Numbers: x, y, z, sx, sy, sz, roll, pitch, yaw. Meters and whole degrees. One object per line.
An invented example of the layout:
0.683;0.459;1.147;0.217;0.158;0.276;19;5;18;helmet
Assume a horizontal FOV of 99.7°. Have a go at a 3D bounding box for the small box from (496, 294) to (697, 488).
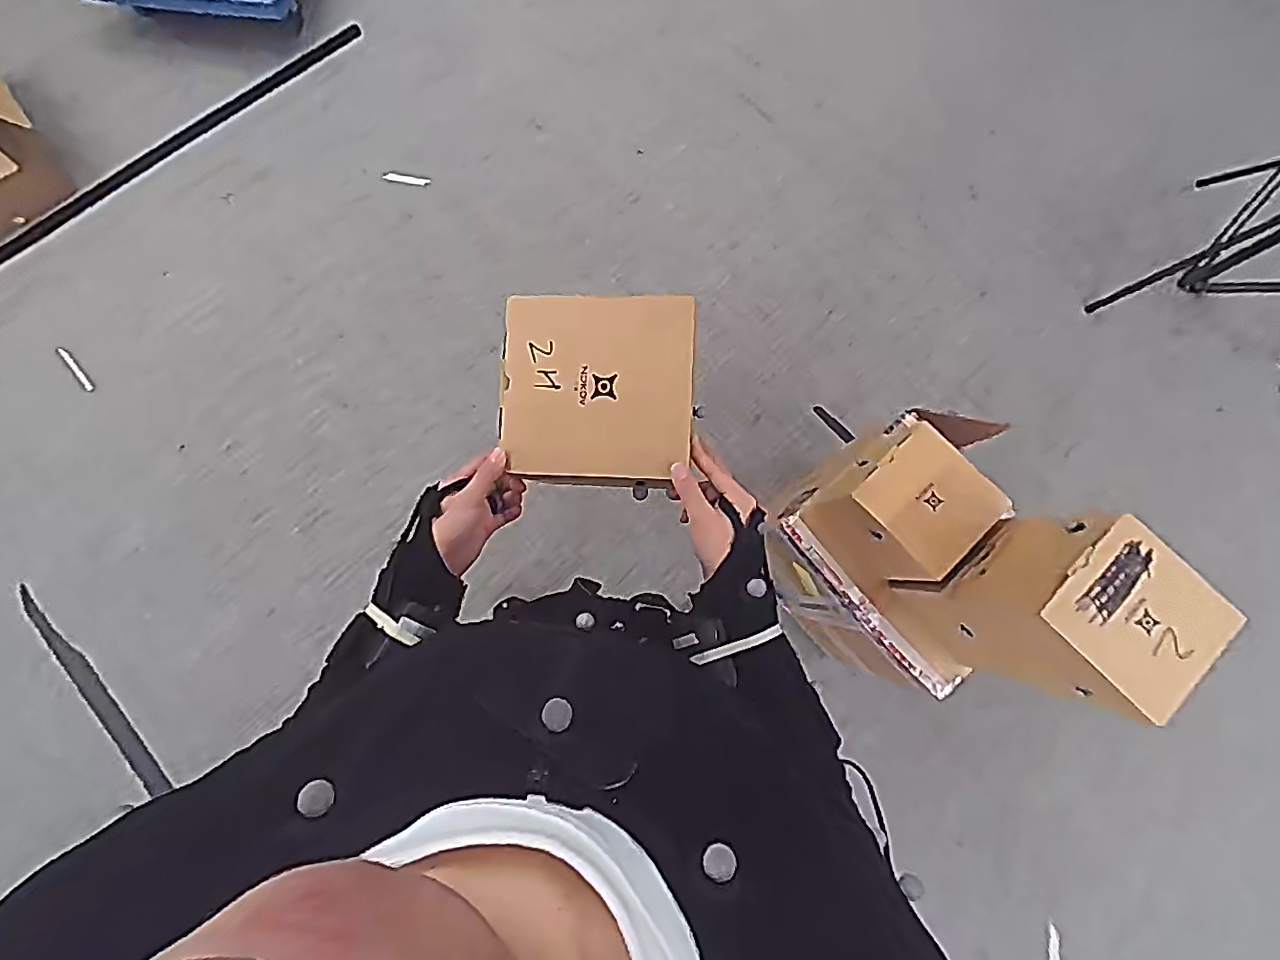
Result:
-0.033;-0.080;0.564;0.179;0.176;0.168;3;86;6;small box
